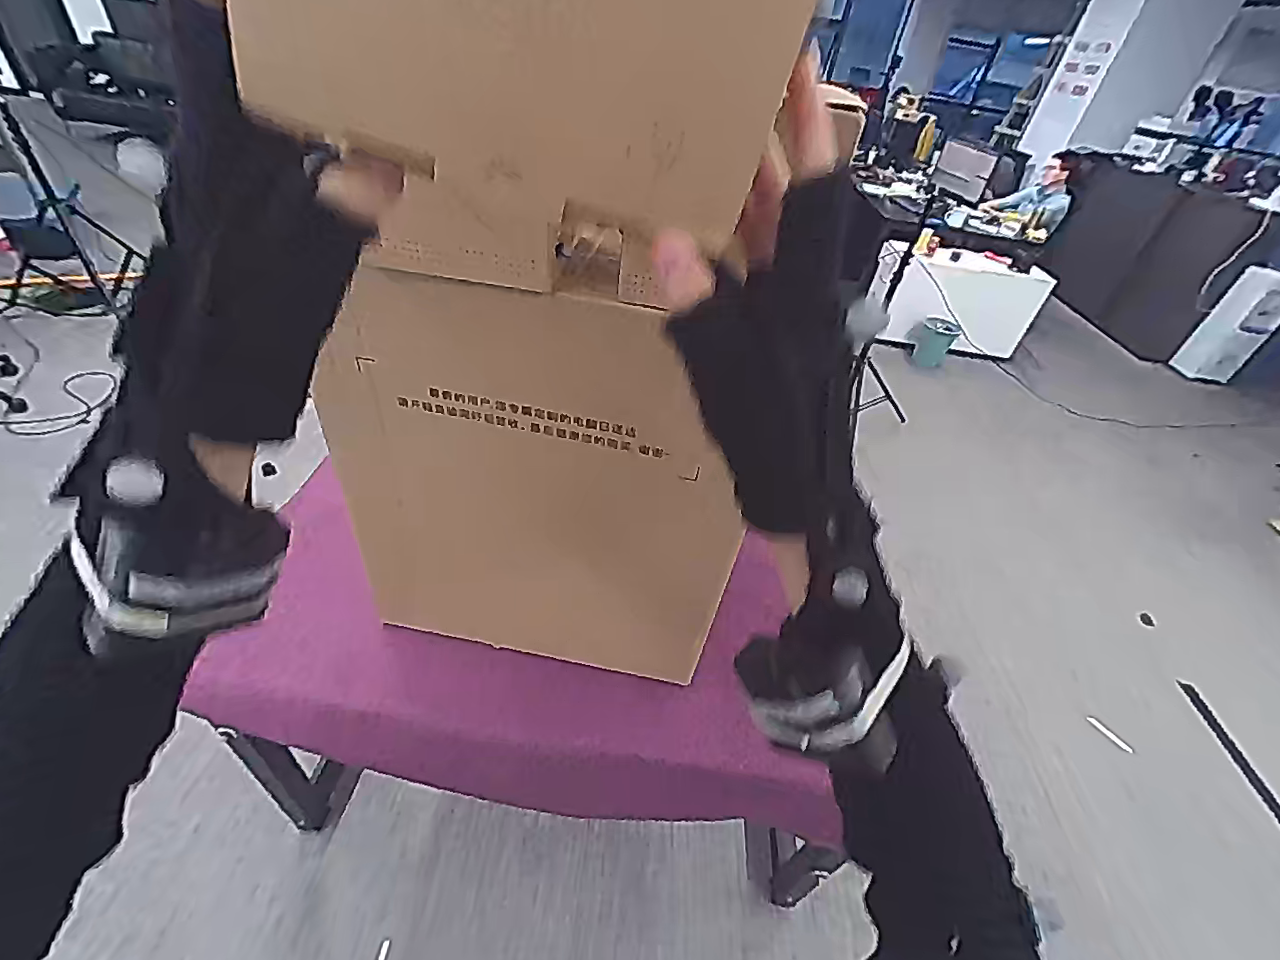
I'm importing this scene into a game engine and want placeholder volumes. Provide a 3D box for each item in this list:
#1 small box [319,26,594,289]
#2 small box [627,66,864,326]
[{"bbox_3d":[-0.144,-0.292,0.495,0.179,0.176,0.168,8,41,0],"label":"small box"},{"bbox_3d":[0.085,-0.262,0.502,0.168,0.176,0.179,11,41,2],"label":"small box"}]
